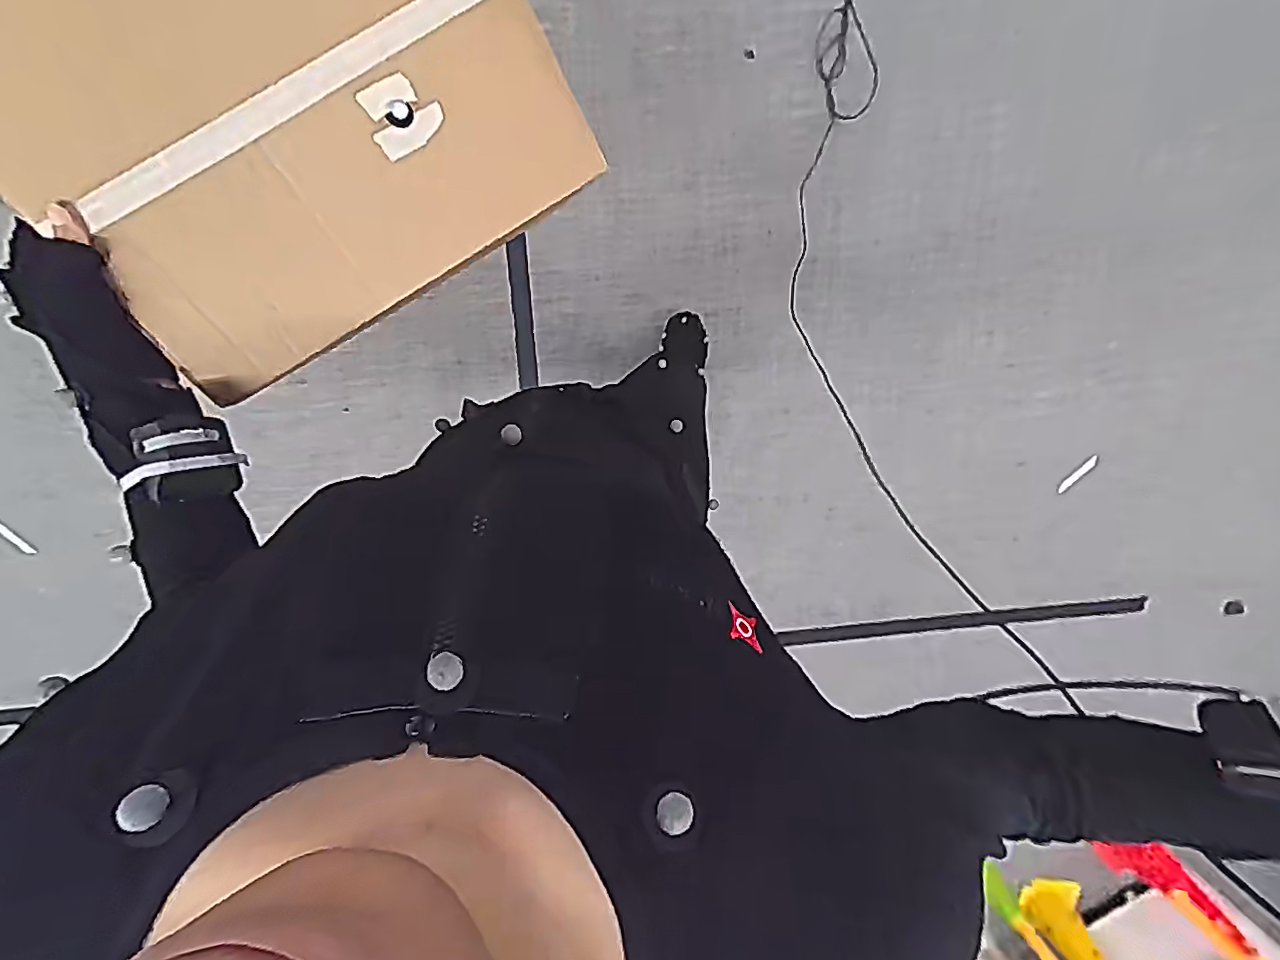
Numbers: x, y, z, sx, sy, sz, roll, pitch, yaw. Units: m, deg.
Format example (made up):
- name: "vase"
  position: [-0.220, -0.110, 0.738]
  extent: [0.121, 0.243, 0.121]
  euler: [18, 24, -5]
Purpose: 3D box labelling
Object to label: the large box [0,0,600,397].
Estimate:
- name: "large box"
  position: [-0.314, -0.343, 0.553]
  extent: [0.408, 0.320, 0.320]
  euler: [-34, 117, -5]
